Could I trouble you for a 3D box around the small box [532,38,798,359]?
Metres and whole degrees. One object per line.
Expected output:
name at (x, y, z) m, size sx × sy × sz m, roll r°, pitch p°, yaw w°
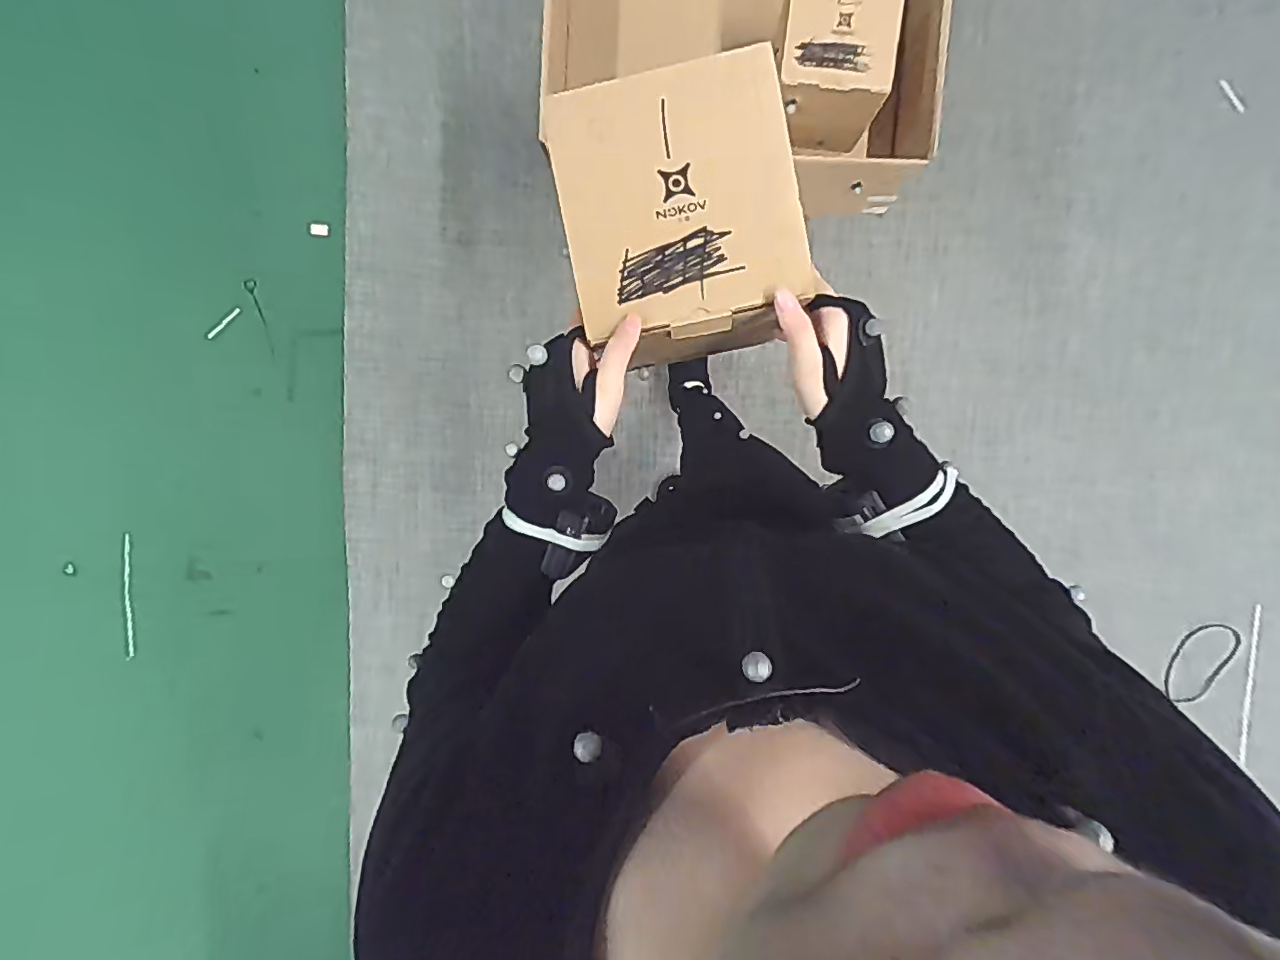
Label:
small box at (0.024, -0.208, 0.459) m, size 0.168 × 0.176 × 0.179 m, roll -11°, pitch 92°, yaw 4°
